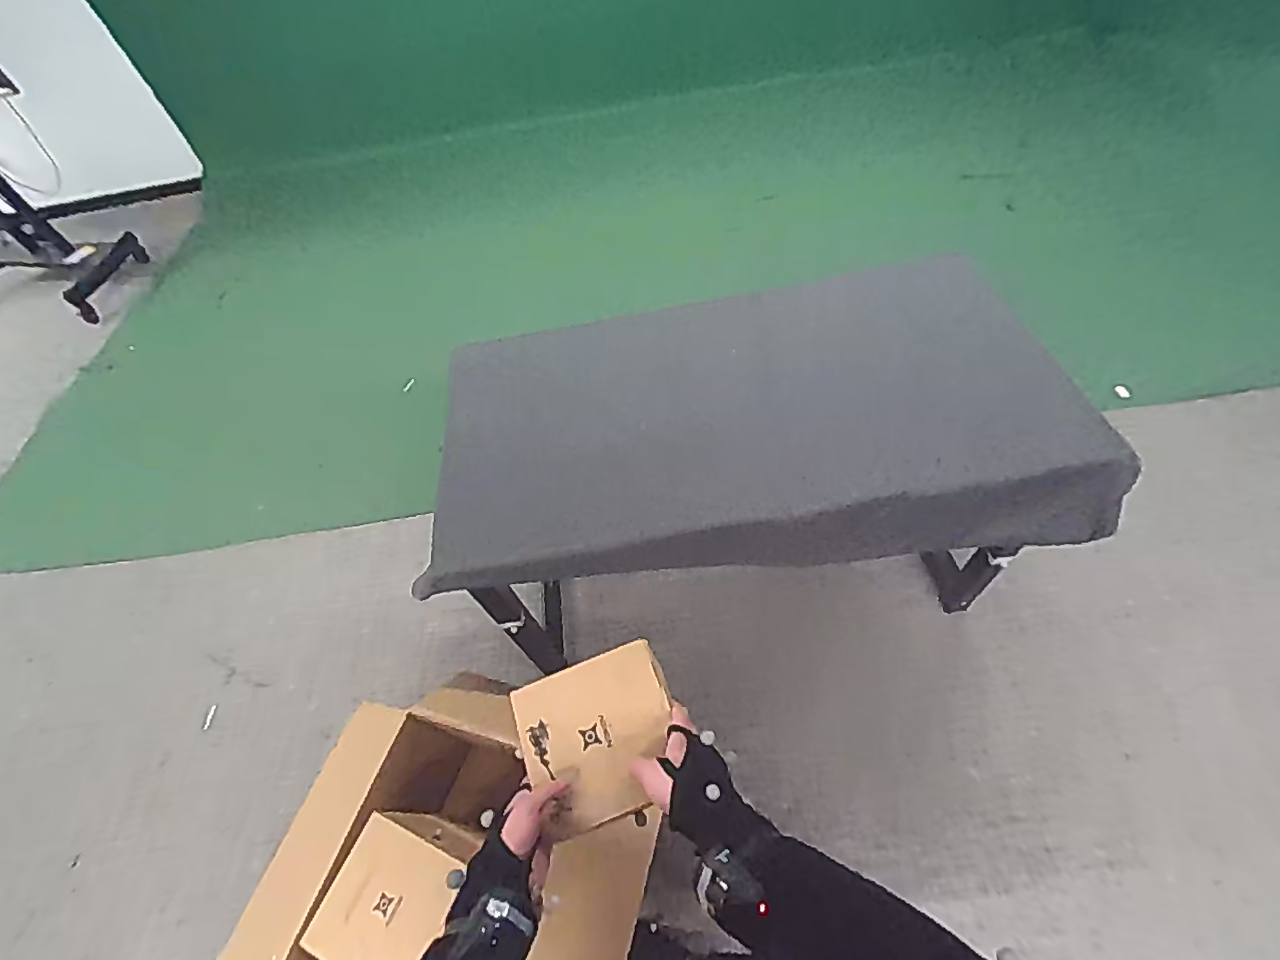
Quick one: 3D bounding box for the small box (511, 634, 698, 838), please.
[{"bbox_3d":[-0.038,0.317,0.675,0.179,0.176,0.168,-21,60,-4],"label":"small box"}]
